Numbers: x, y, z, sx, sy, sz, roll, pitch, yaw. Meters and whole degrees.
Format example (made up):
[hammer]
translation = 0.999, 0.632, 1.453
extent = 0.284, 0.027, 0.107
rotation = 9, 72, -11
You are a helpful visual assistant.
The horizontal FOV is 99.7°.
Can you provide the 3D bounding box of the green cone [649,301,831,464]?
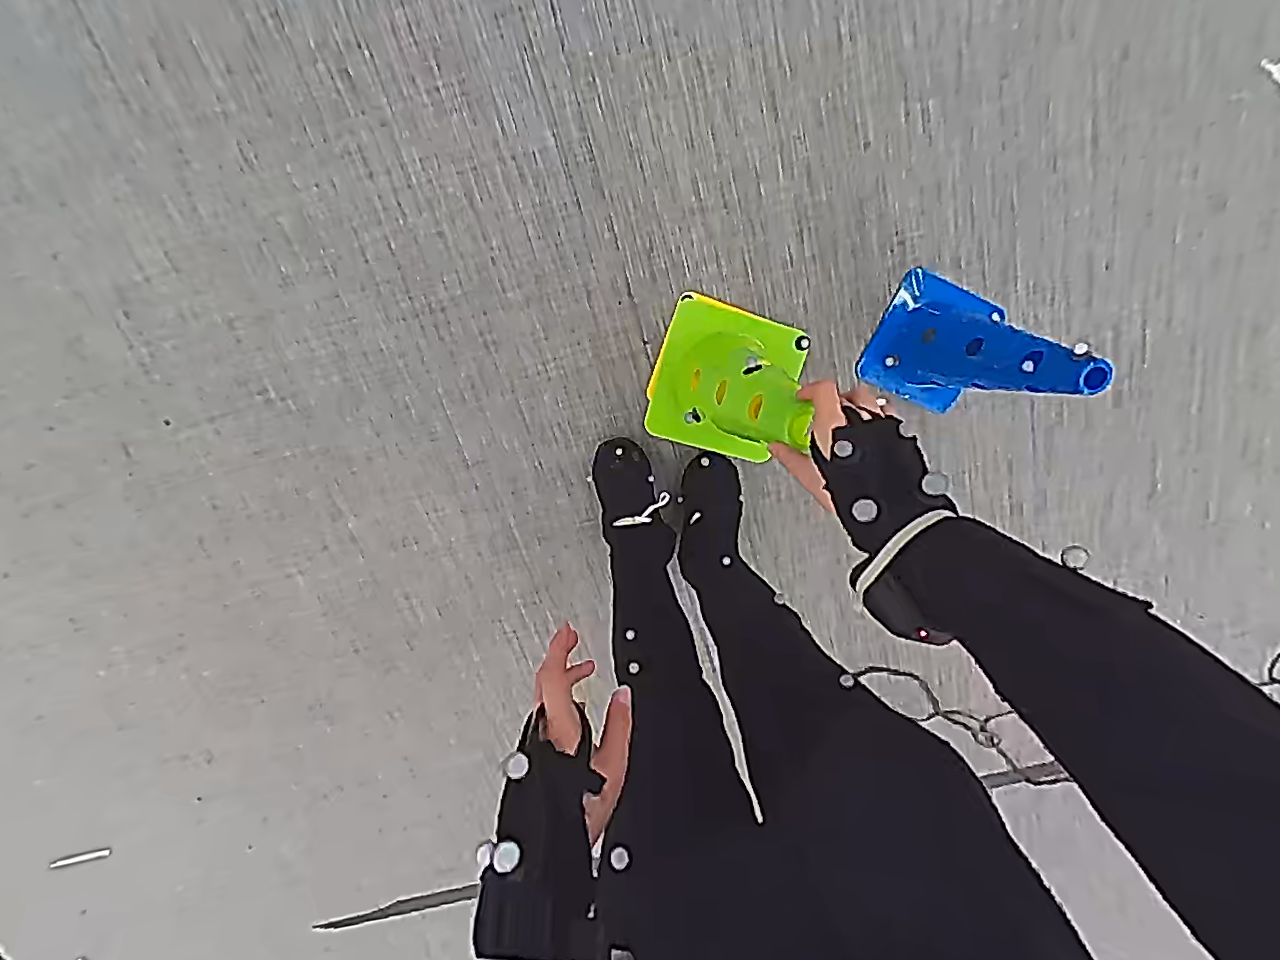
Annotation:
[green cone]
translation = 0.132, -0.088, 0.615
extent = 0.200, 0.368, 0.202
rotation = 14, 106, -5
